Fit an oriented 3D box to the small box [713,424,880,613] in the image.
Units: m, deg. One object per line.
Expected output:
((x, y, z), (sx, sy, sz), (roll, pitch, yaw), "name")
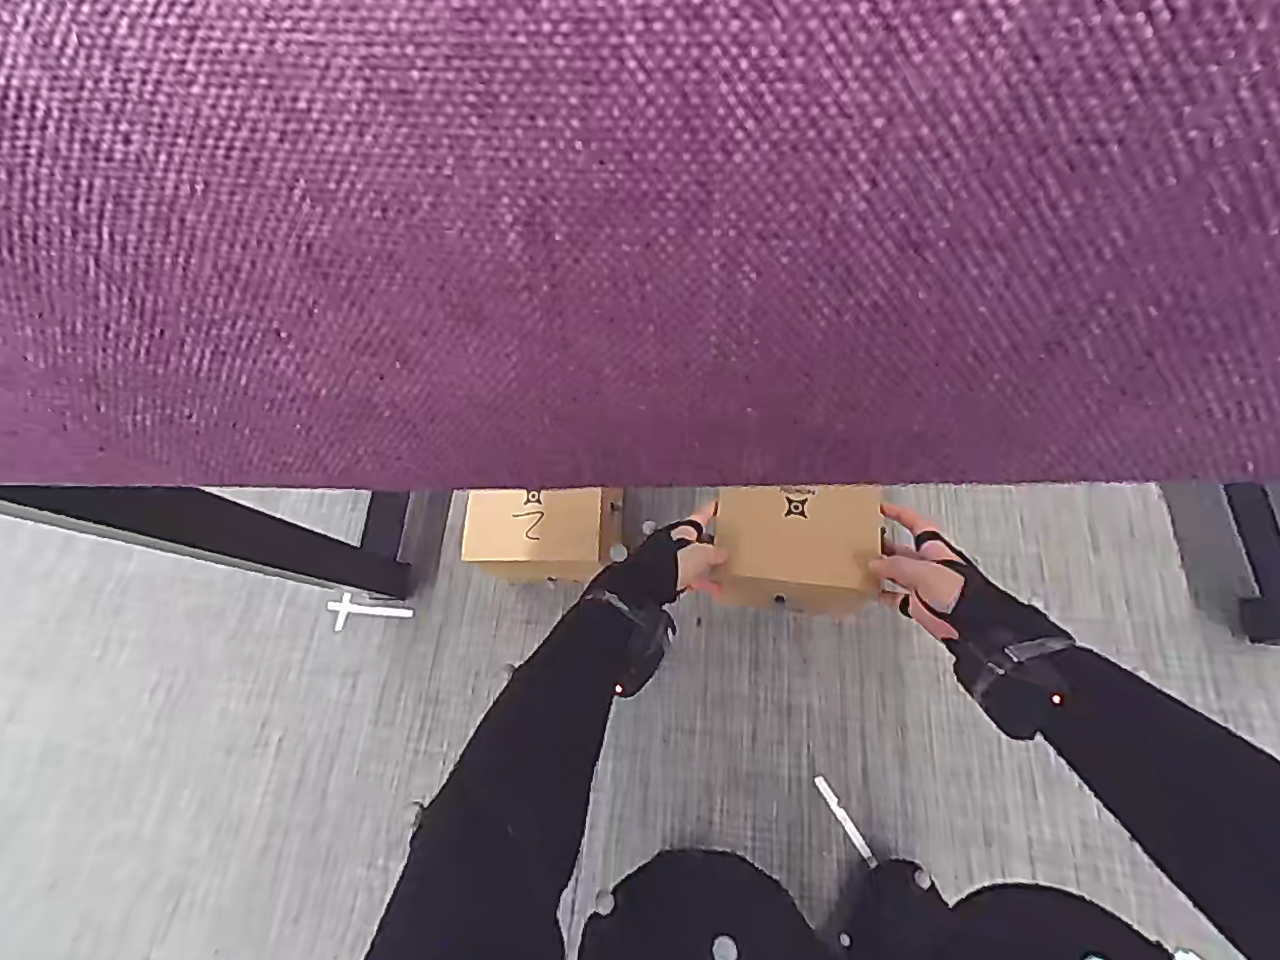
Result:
((0.179, 0.053, 0.644), (0.168, 0.176, 0.179), (5, 67, 10), "small box")
